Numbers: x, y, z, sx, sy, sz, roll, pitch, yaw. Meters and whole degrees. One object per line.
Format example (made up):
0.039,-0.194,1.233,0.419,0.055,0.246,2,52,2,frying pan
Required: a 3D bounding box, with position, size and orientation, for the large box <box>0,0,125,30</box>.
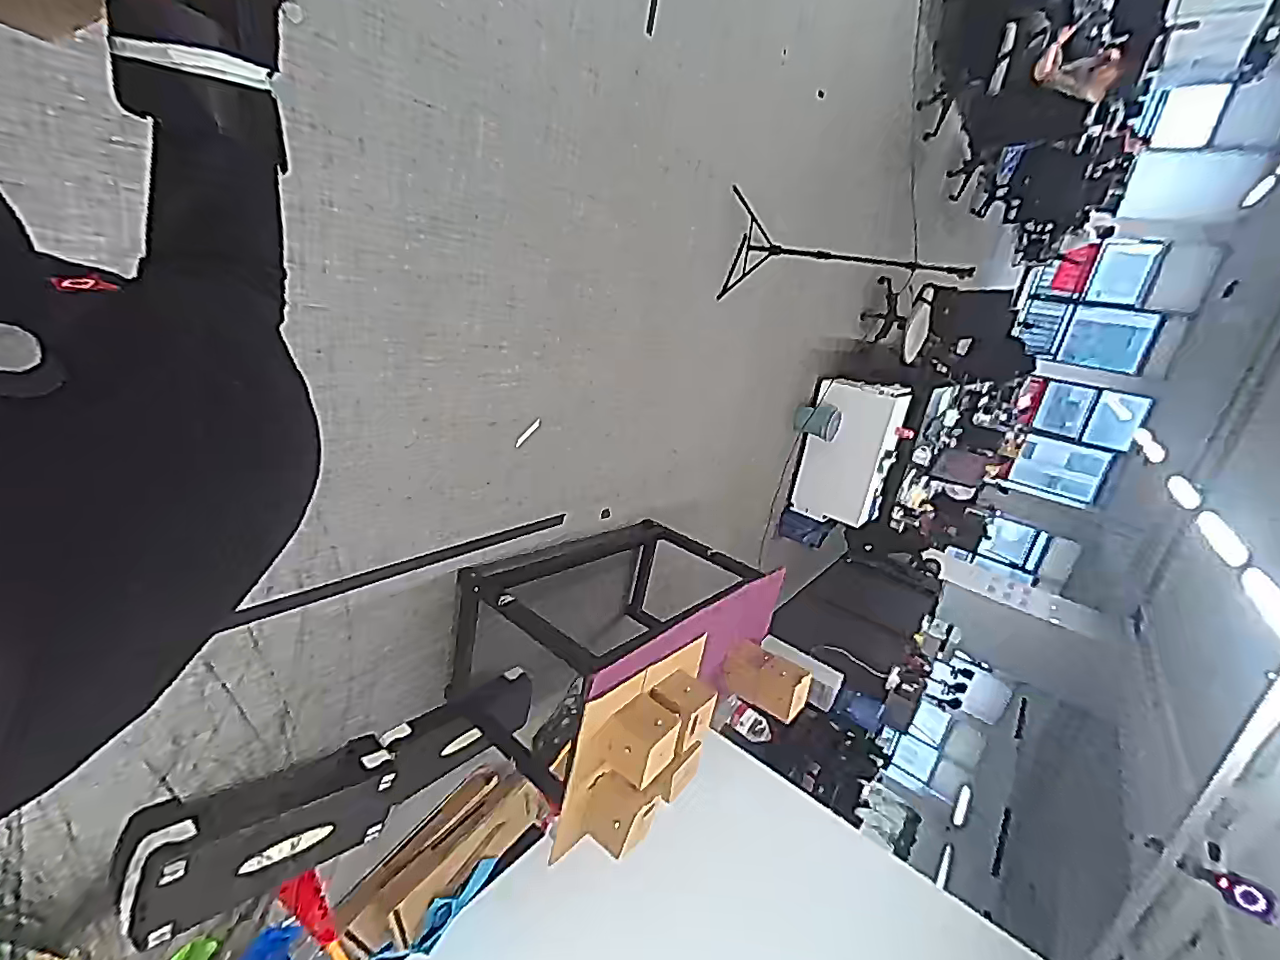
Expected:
-0.466,-0.459,0.189,0.408,0.320,0.320,-8,117,-56,large box
